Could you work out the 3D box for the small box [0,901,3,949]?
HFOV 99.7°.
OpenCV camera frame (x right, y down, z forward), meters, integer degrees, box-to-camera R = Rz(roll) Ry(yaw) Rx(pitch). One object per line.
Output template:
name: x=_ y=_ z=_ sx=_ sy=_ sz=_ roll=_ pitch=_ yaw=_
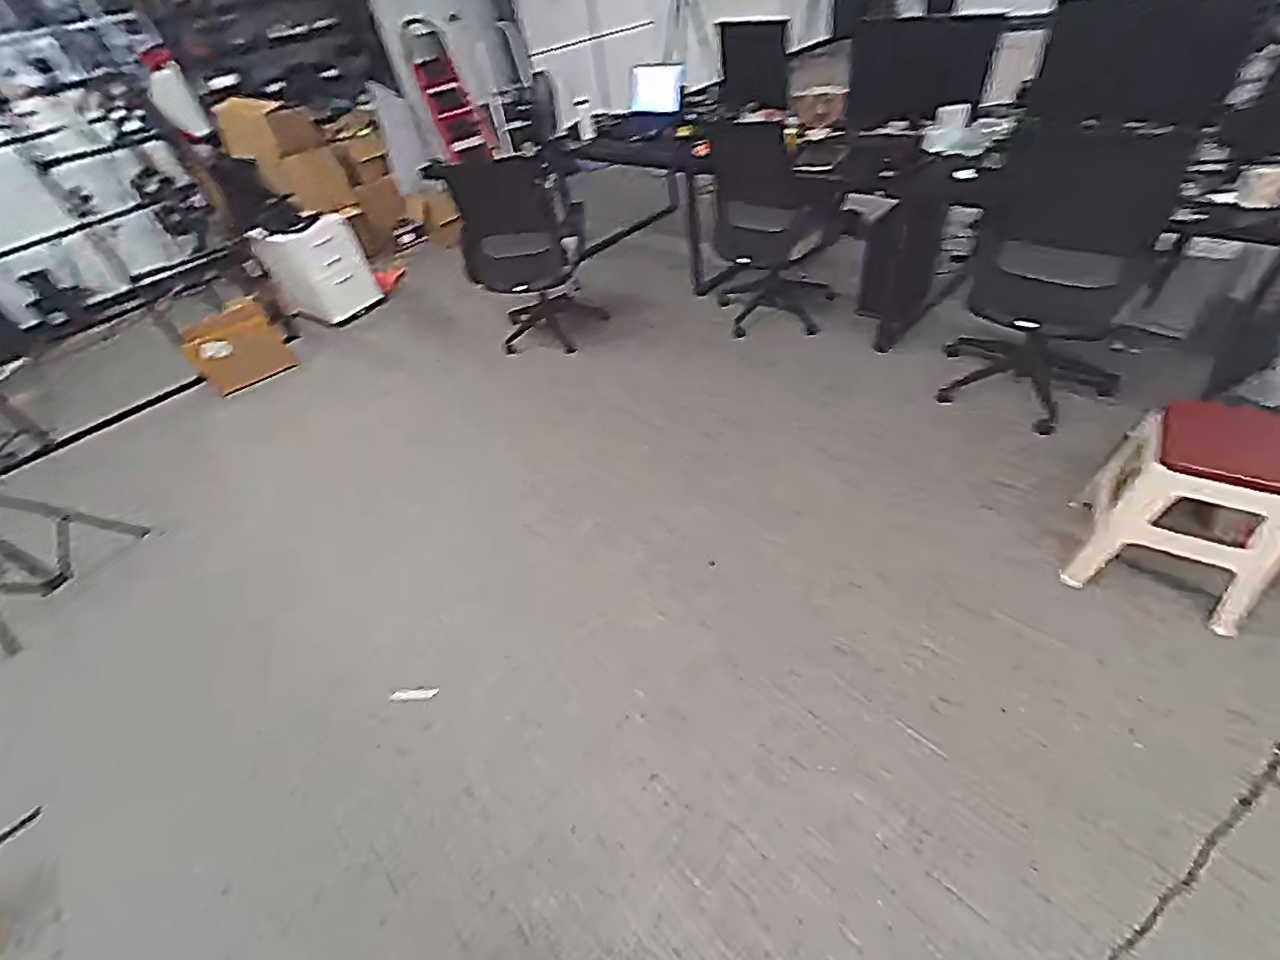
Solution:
small box: x=-1.695 y=1.114 z=1.290 sx=0.179 sy=0.176 sz=0.168 roll=27 pitch=55 yaw=34
